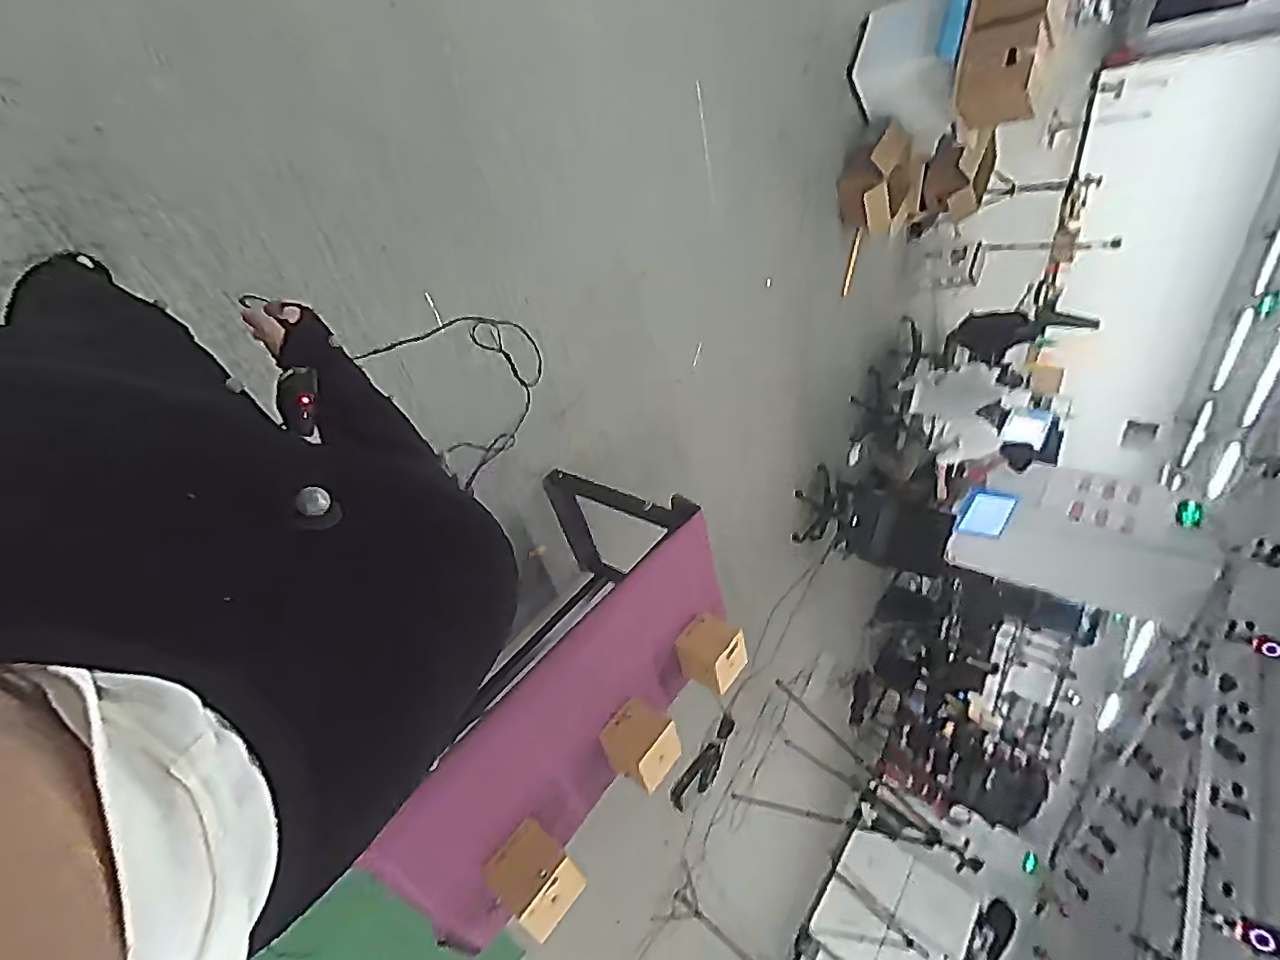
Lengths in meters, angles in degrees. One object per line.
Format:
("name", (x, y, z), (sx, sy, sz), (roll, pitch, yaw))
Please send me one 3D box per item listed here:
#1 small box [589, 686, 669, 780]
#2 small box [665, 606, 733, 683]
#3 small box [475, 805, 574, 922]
("small box", (-0.033, 0.783, 1.693), (0.168, 0.176, 0.179), (-40, 132, -35))
("small box", (0.204, 0.562, 1.887), (0.168, 0.176, 0.179), (-41, 133, -33))
("small box", (-0.308, 1.020, 1.449), (0.168, 0.176, 0.179), (-42, 134, -34))
